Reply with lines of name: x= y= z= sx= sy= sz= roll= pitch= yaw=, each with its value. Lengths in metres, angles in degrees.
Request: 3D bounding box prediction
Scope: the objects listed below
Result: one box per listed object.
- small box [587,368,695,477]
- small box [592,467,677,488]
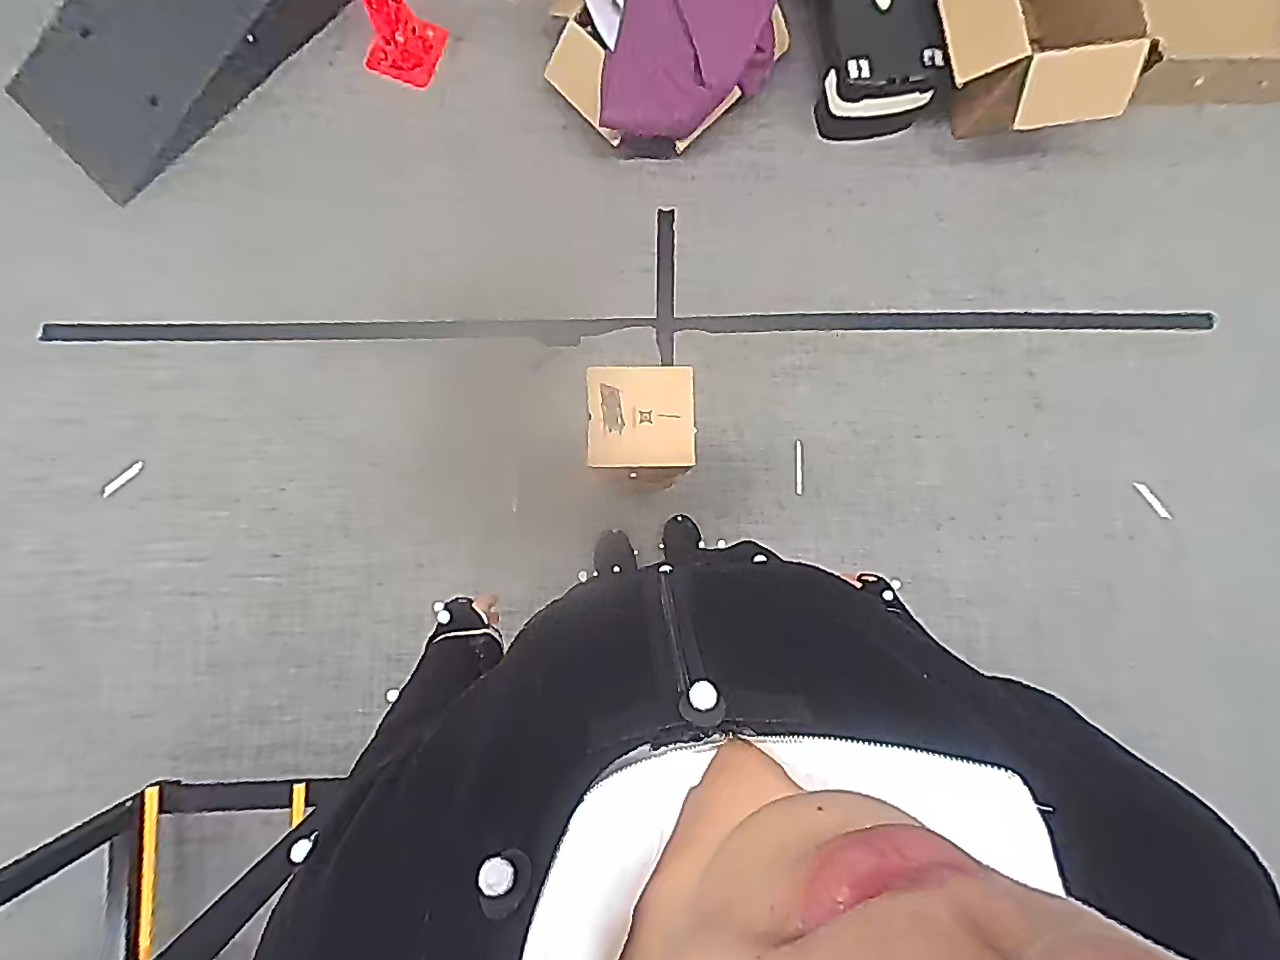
small box: x=0.002 y=-0.094 z=0.949 sx=0.179 sy=0.176 sz=0.168 roll=0 pitch=86 yaw=-1
small box: x=-0.007 y=-0.074 z=1.114 sx=0.168 sy=0.176 sz=0.179 roll=1 pitch=87 yaw=0
